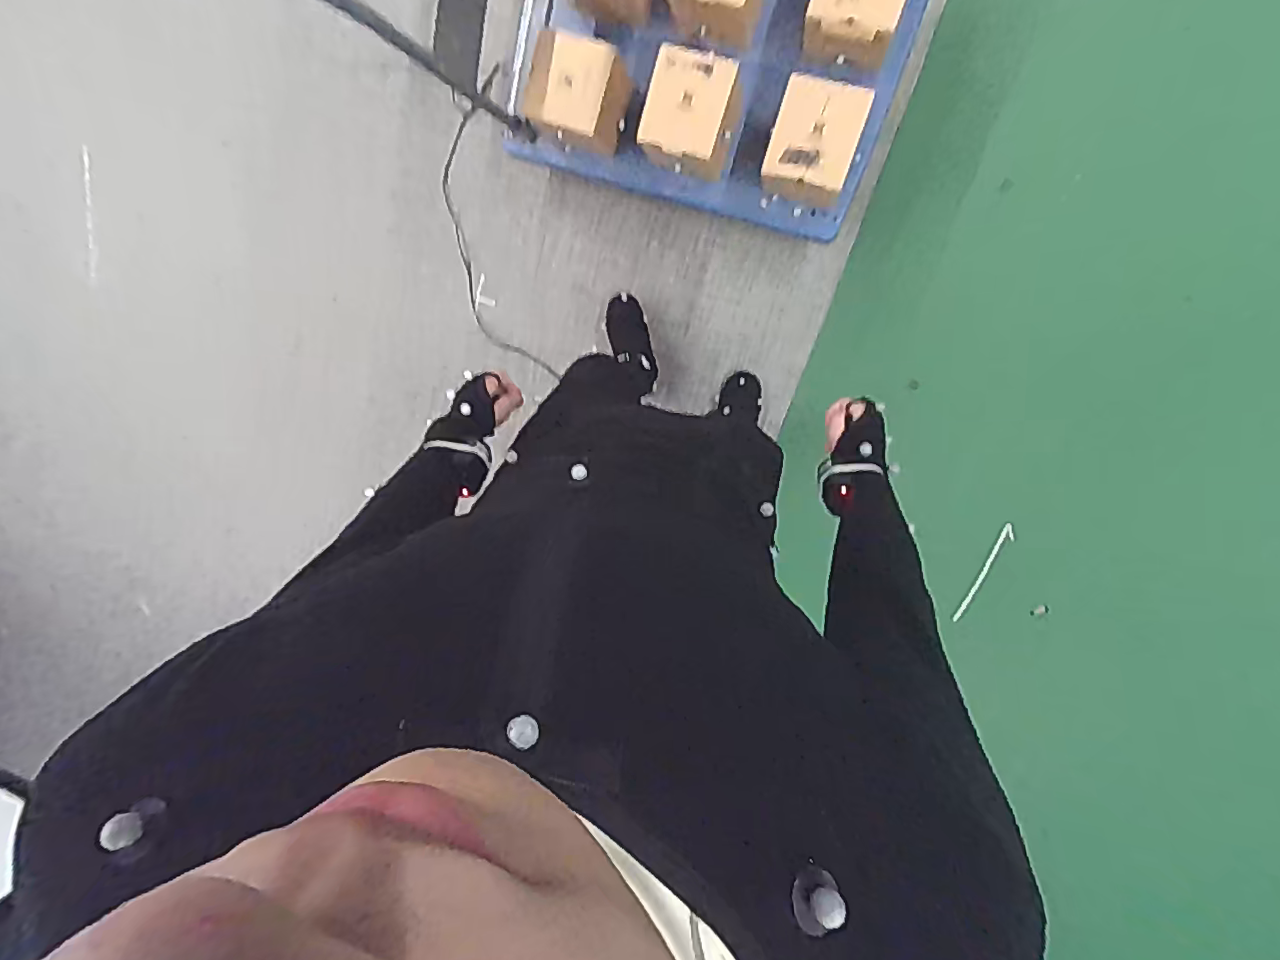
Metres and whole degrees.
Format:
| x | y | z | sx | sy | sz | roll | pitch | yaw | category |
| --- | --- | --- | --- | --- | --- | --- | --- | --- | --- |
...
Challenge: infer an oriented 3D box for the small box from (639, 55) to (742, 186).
| x | y | z | sx | sy | sz | roll | pitch | yaw | category |
| --- | --- | --- | --- | --- | --- | --- | --- | --- | --- |
| 0.117 | -0.767 | 1.174 | 0.168 | 0.176 | 0.179 | 21 | 108 | 8 | small box |

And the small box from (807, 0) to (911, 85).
| x | y | z | sx | sy | sz | roll | pitch | yaw | category |
| --- | --- | --- | --- | --- | --- | --- | --- | --- | --- |
| 0.434 | -0.921 | 1.055 | 0.168 | 0.176 | 0.179 | 20 | 108 | 9 | small box |

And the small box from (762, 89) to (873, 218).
| x | y | z | sx | sy | sz | roll | pitch | yaw | category |
| --- | --- | --- | --- | --- | --- | --- | --- | --- | --- |
| 0.370 | -0.681 | 1.150 | 0.168 | 0.176 | 0.179 | 20 | 107 | 8 | small box |

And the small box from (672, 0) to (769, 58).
| x | y | z | sx | sy | sz | roll | pitch | yaw | category |
| --- | --- | --- | --- | --- | --- | --- | --- | --- | --- |
| 0.174 | -1.014 | 1.101 | 0.168 | 0.176 | 0.179 | 21 | 109 | 8 | small box |

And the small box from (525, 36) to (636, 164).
| x | y | z | sx | sy | sz | roll | pitch | yaw | category |
| --- | --- | --- | --- | --- | --- | --- | --- | --- | --- |
| -0.129 | -0.843 | 1.217 | 0.179 | 0.176 | 0.168 | 23 | 108 | 6 | small box |
